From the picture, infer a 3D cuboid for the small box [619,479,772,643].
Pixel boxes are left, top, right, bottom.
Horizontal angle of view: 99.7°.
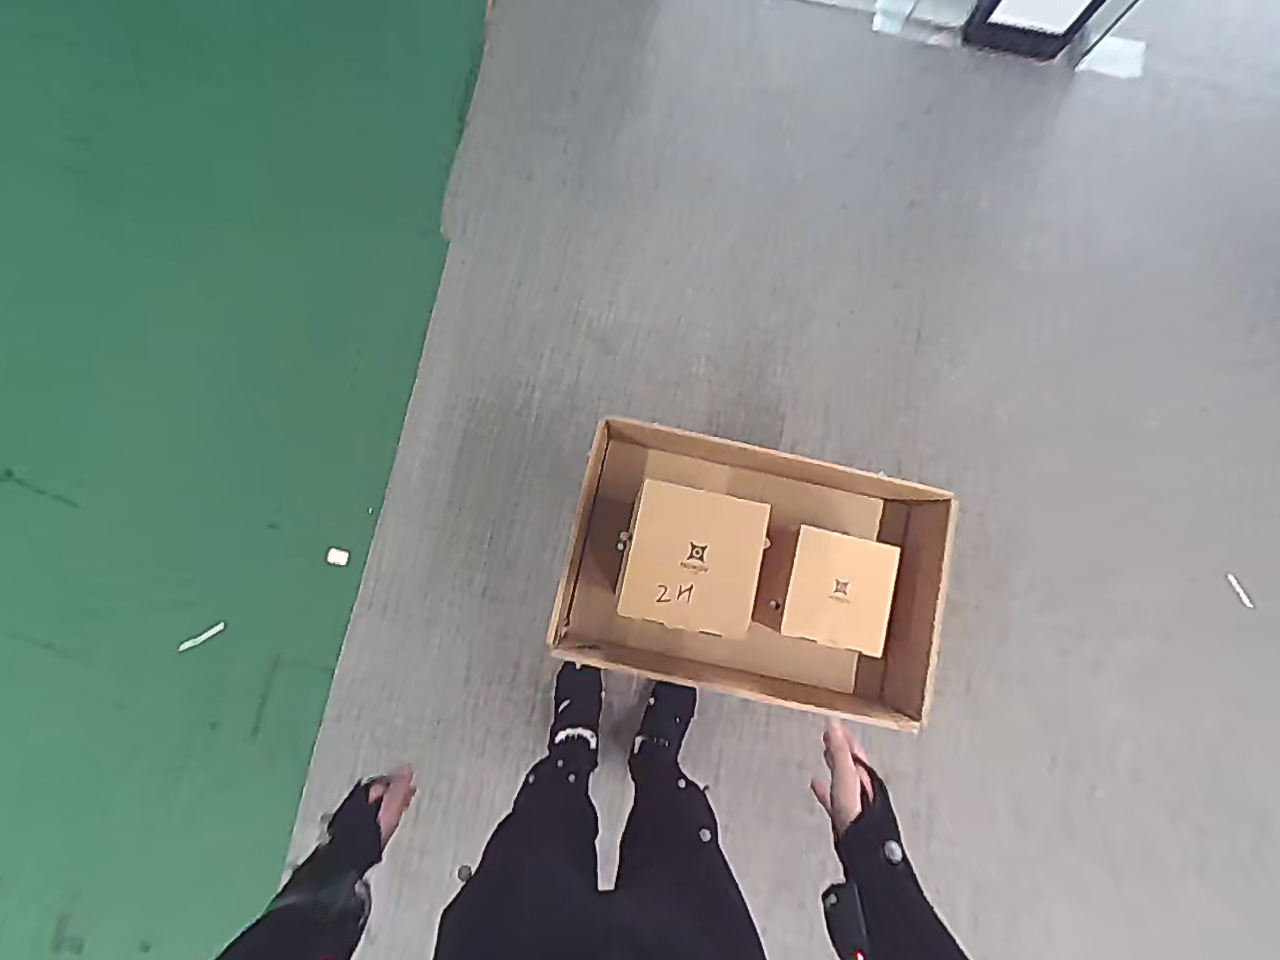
[{"bbox_3d":[0.067,0.110,0.749,0.168,0.176,0.179,13,82,-1],"label":"small box"}]
